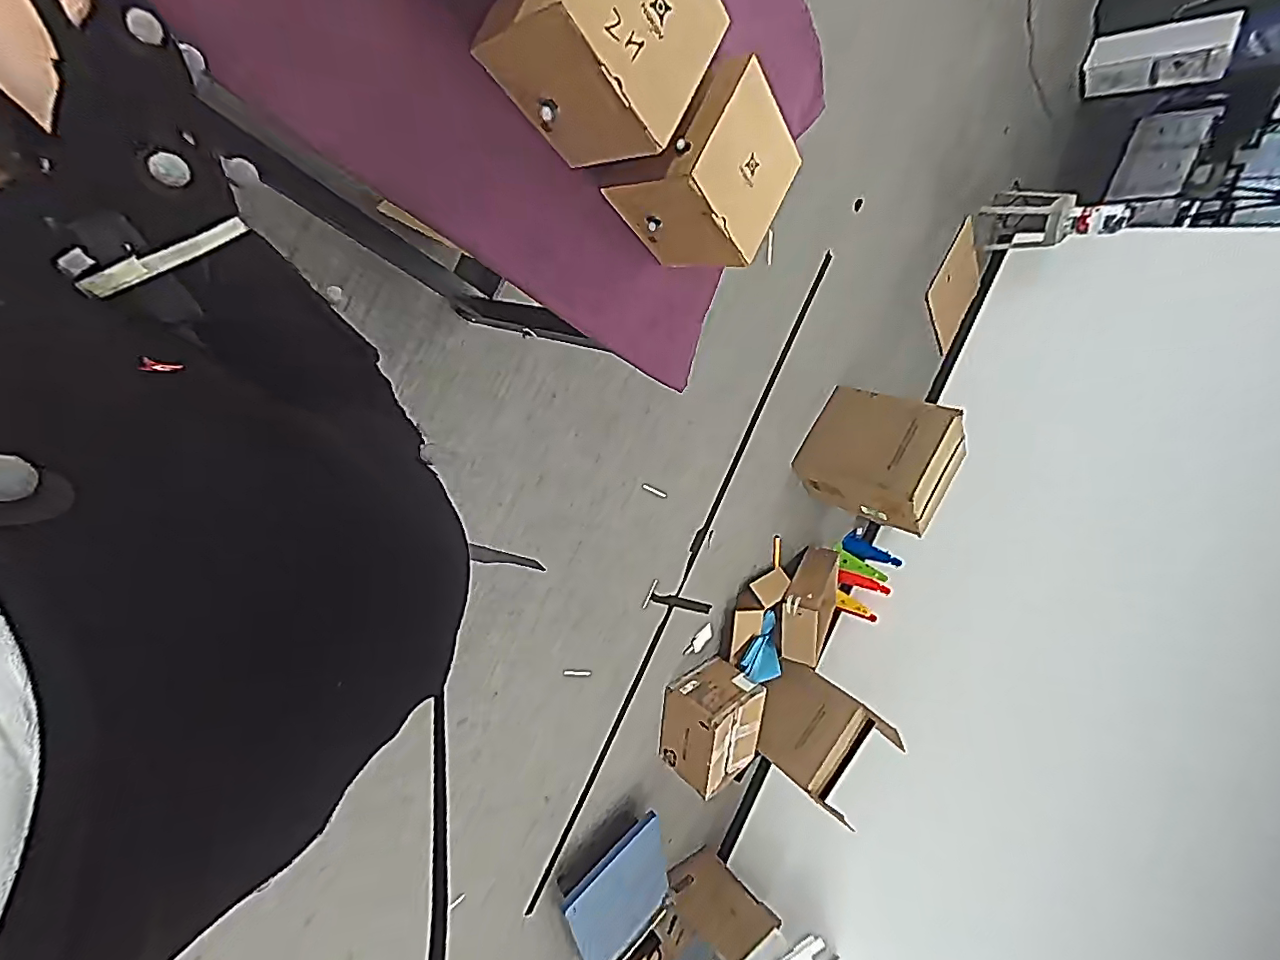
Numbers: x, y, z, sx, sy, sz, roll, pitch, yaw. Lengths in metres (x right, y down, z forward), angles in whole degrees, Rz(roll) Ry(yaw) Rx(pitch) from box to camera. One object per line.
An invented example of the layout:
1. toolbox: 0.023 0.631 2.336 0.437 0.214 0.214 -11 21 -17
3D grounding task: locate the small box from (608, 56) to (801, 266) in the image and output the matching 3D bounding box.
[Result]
1. small box: 0.086 -0.420 0.740 0.168 0.176 0.179 31 84 -48
